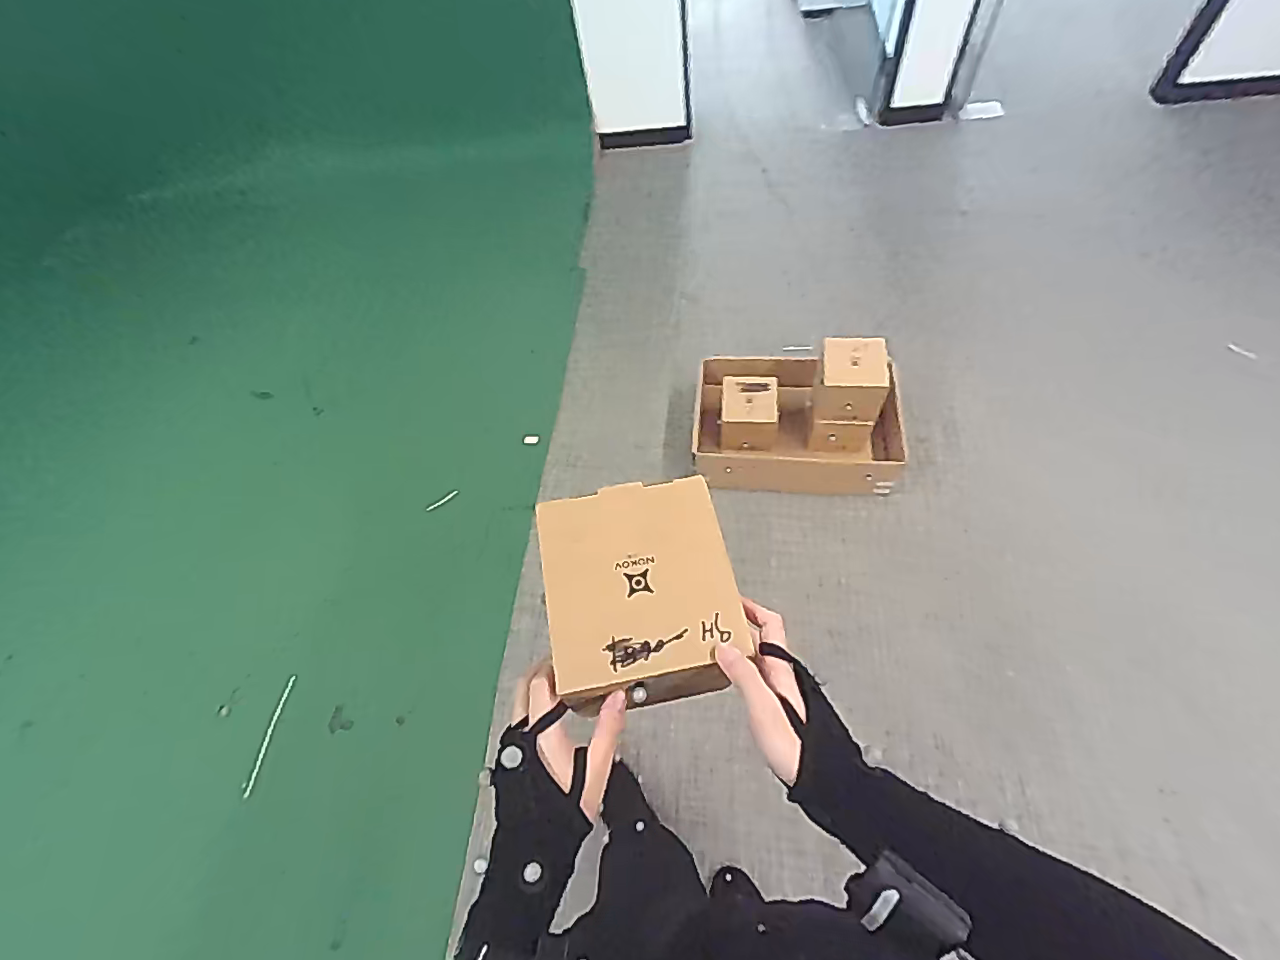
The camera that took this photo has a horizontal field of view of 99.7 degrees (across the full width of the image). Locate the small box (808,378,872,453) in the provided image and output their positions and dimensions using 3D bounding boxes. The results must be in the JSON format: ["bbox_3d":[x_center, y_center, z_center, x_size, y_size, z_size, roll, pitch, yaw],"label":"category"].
[{"bbox_3d":[0.622,-0.200,1.694,0.168,0.176,0.179,3,61,11],"label":"small box"}]

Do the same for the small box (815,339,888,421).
[{"bbox_3d":[0.602,-0.284,1.553,0.168,0.176,0.179,3,61,11],"label":"small box"}]

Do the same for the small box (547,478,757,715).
[{"bbox_3d":[0.004,0.123,0.548,0.168,0.176,0.179,-9,60,-4],"label":"small box"}]
